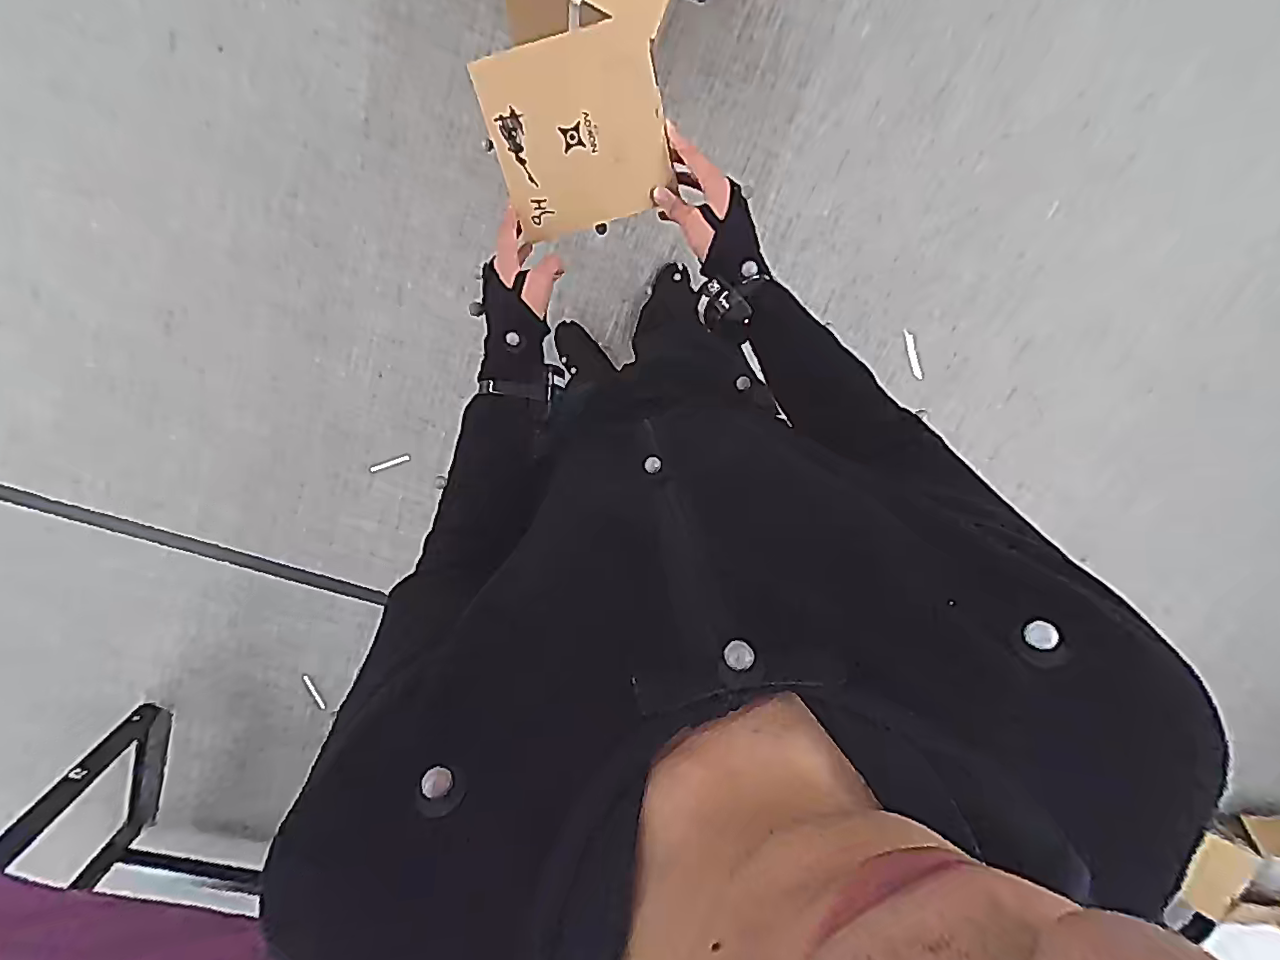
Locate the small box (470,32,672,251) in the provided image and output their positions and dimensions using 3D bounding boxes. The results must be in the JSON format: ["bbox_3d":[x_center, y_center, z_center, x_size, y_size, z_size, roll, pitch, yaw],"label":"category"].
[{"bbox_3d":[-0.075,-0.382,0.631,0.179,0.176,0.168,-16,118,1],"label":"small box"}]
